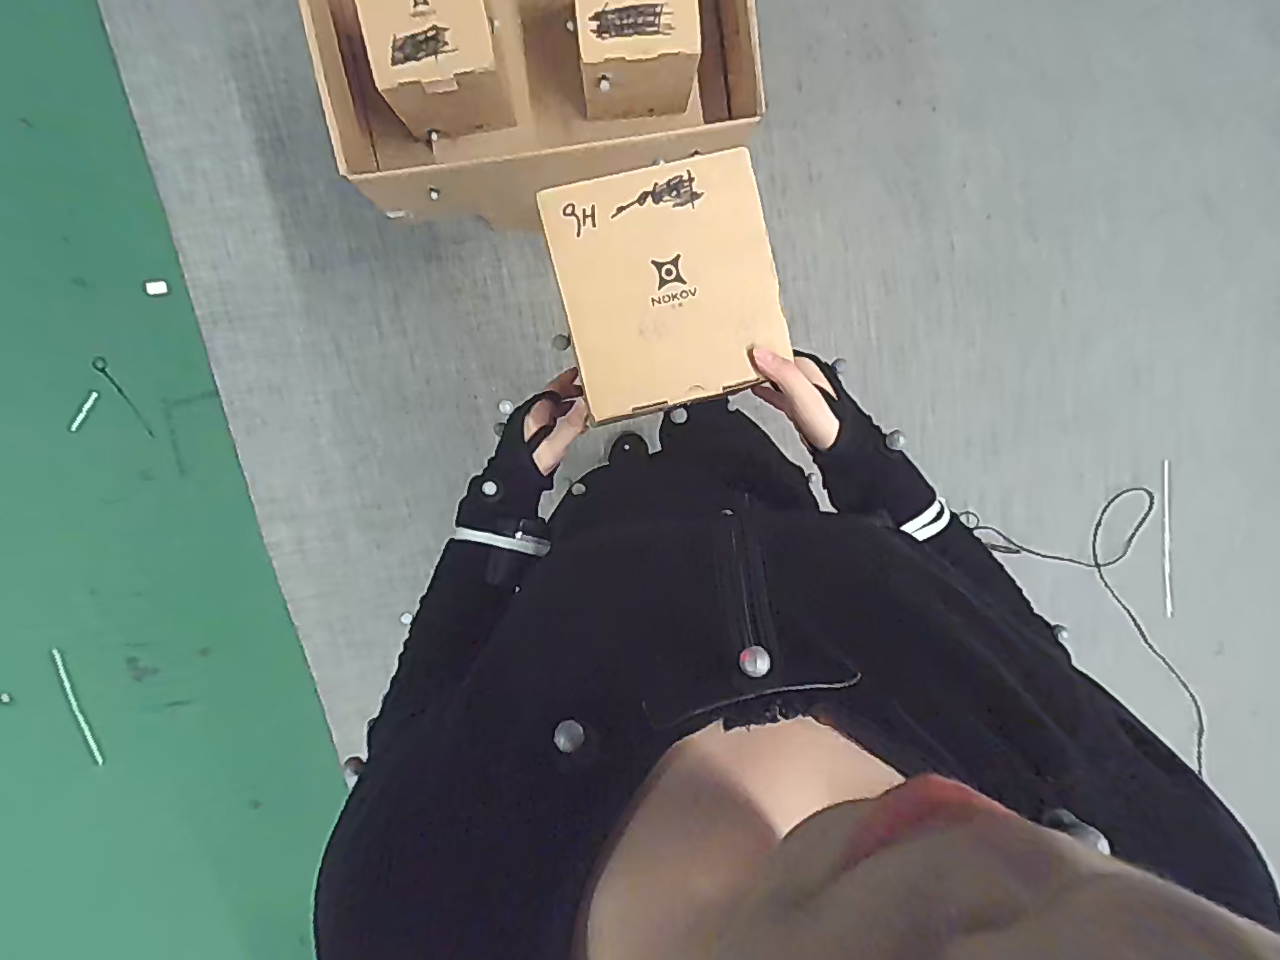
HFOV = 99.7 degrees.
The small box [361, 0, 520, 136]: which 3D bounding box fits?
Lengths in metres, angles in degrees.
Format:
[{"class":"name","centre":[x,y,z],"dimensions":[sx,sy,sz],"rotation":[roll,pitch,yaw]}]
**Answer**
[{"class":"small box","centre":[-0.284,-0.636,0.793],"dimensions":[0.168,0.176,0.179],"rotation":[-10,100,0]}]

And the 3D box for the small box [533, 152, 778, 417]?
[{"class":"small box","centre":[0.009,-0.158,0.496],"dimensions":[0.168,0.176,0.179],"rotation":[-13,96,-4]}]
